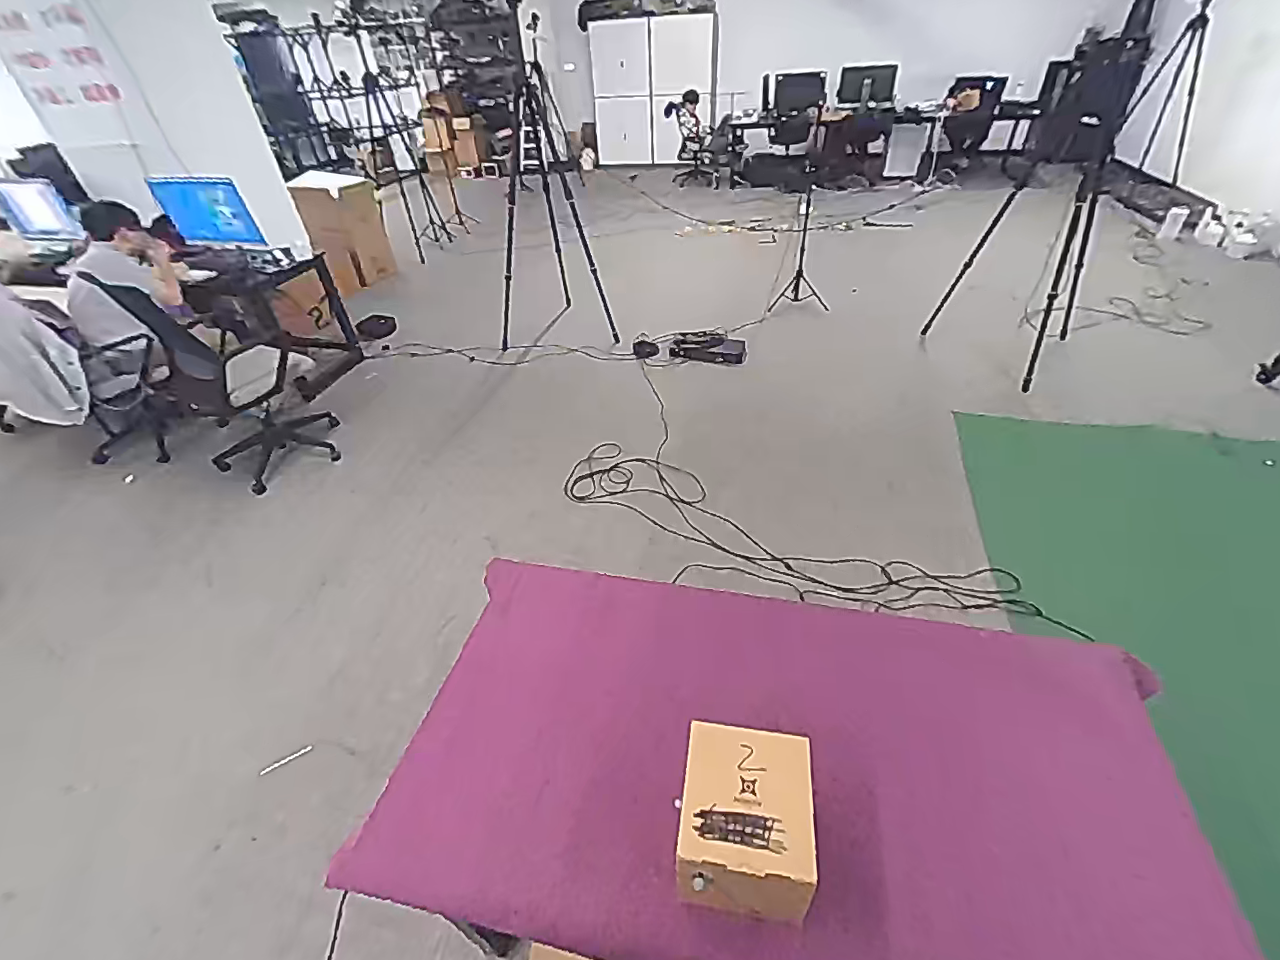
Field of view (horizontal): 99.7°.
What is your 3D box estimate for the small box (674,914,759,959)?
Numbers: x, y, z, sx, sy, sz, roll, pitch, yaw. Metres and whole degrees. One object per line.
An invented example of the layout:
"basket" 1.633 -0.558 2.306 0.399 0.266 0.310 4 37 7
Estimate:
"small box" 0.160 1.061 1.154 0.179 0.176 0.168 1 38 8
